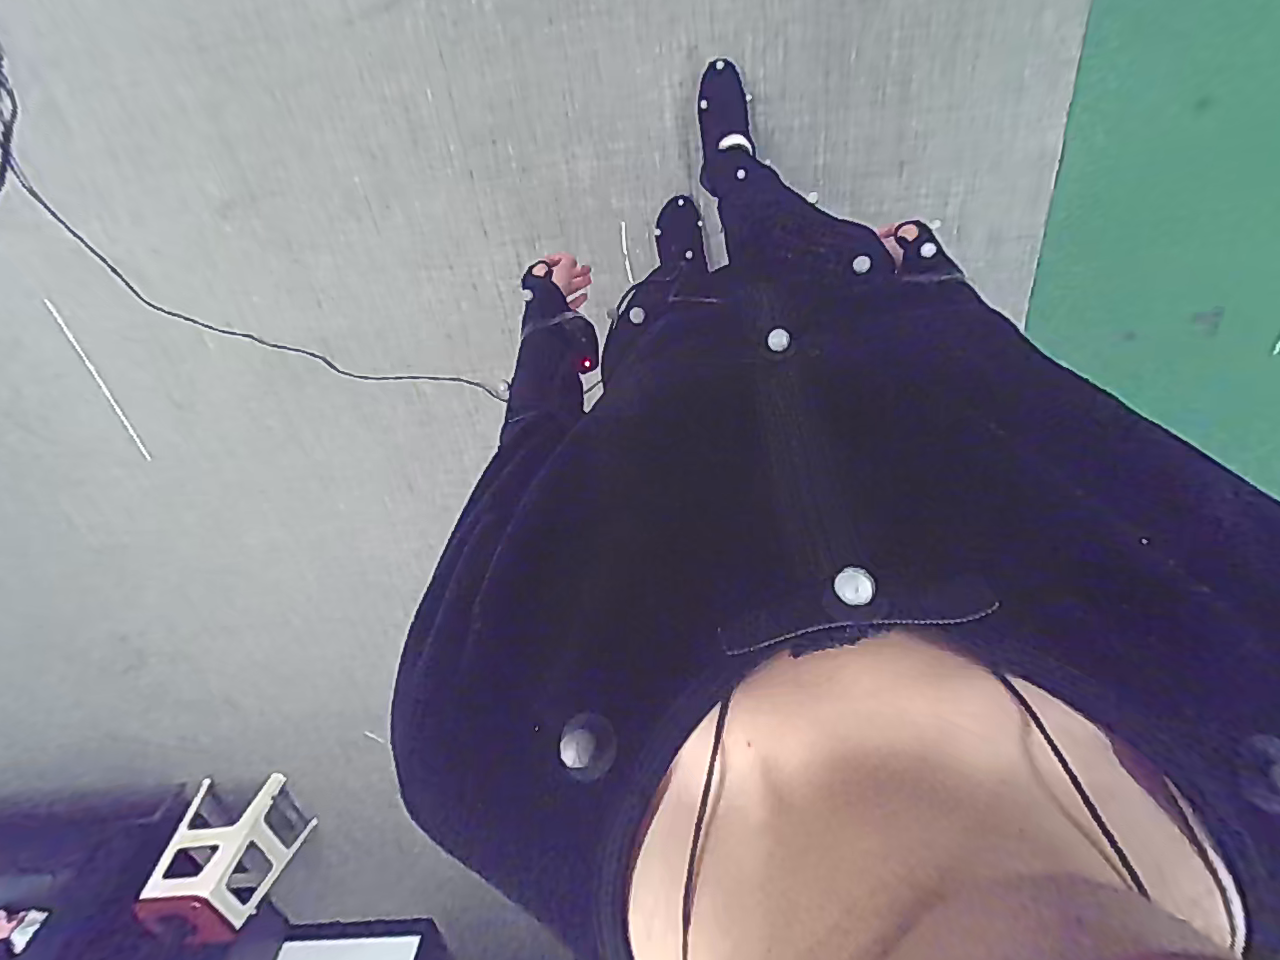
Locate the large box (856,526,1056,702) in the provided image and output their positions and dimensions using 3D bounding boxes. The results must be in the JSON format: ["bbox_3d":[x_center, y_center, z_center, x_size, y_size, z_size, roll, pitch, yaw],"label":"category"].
[{"bbox_3d":[0.921,0.391,1.612,0.408,0.320,0.320,-19,116,10],"label":"large box"}]
